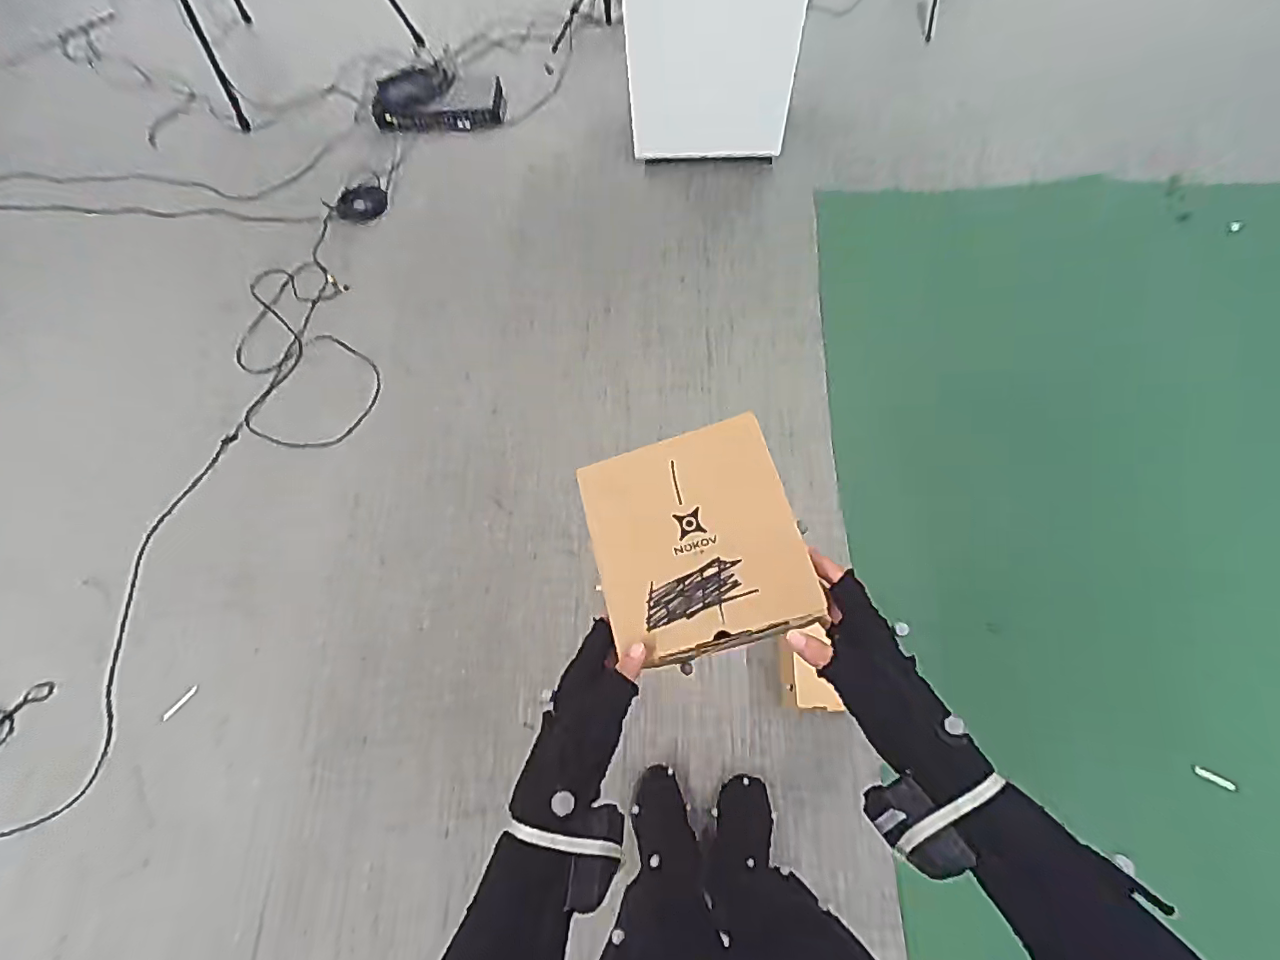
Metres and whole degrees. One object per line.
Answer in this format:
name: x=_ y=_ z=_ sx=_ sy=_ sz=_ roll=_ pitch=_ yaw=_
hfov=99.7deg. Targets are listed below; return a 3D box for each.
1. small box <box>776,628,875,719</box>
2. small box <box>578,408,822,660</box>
small box: x=0.402 y=0.433 z=1.203 sx=0.168 sy=0.176 sz=0.179 roll=0 pitch=66 yaw=4
small box: x=0.058 y=0.064 z=0.512 sx=0.168 sy=0.176 sz=0.179 roll=-17 pitch=67 yaw=6
